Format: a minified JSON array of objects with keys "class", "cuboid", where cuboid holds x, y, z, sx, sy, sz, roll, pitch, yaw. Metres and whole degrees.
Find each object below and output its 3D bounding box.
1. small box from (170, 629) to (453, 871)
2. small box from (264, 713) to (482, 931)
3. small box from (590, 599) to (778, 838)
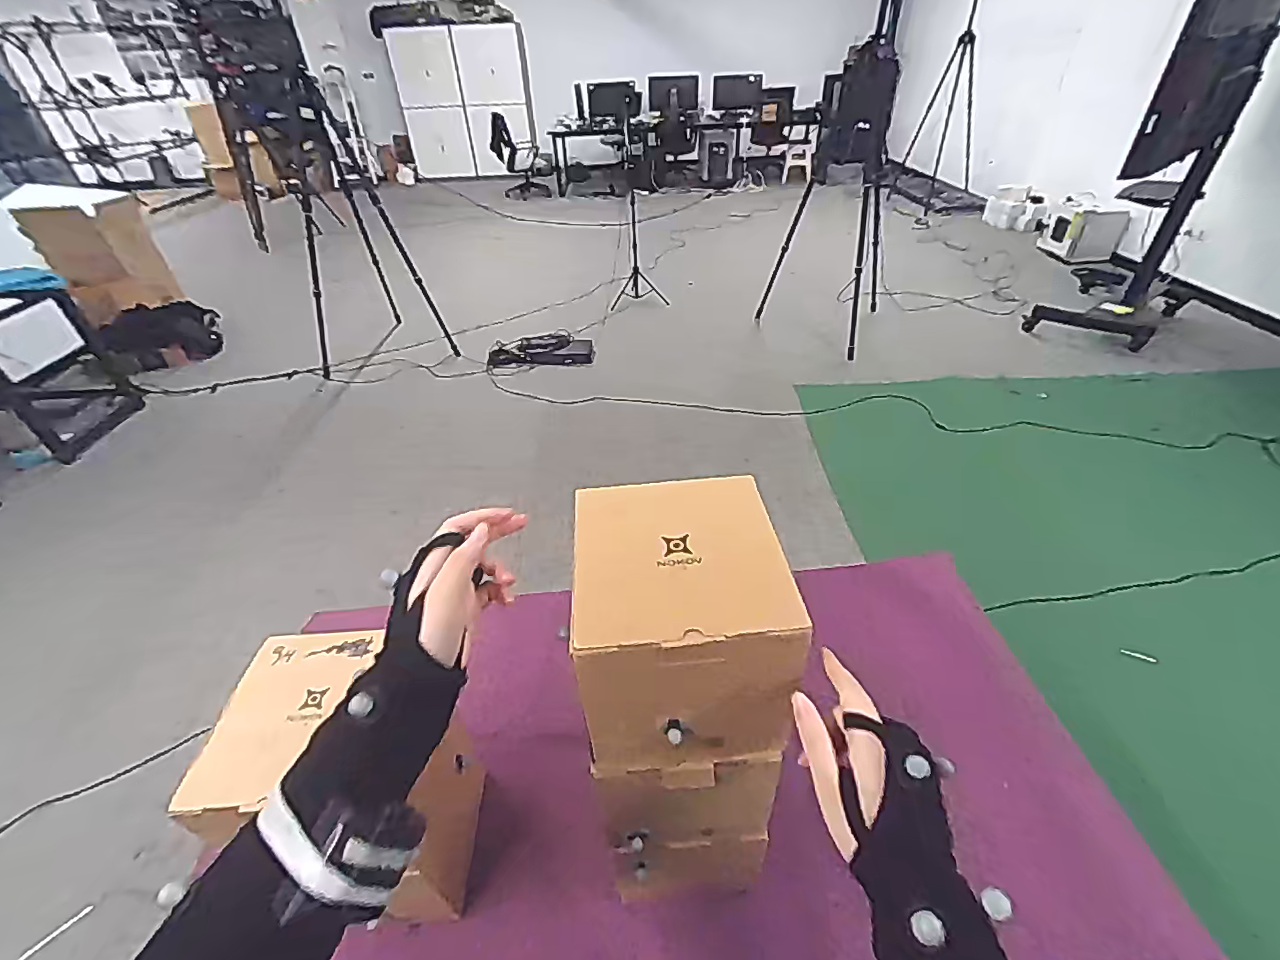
[{"class":"small box","cuboid":[-0.308,0.281,0.560,0.168,0.176,0.179,-3,38,-1]},{"class":"small box","cuboid":[-0.301,0.412,0.659,0.168,0.176,0.179,-4,38,0]},{"class":"small box","cuboid":[0.038,0.253,0.572,0.168,0.176,0.179,-4,37,-2]}]
